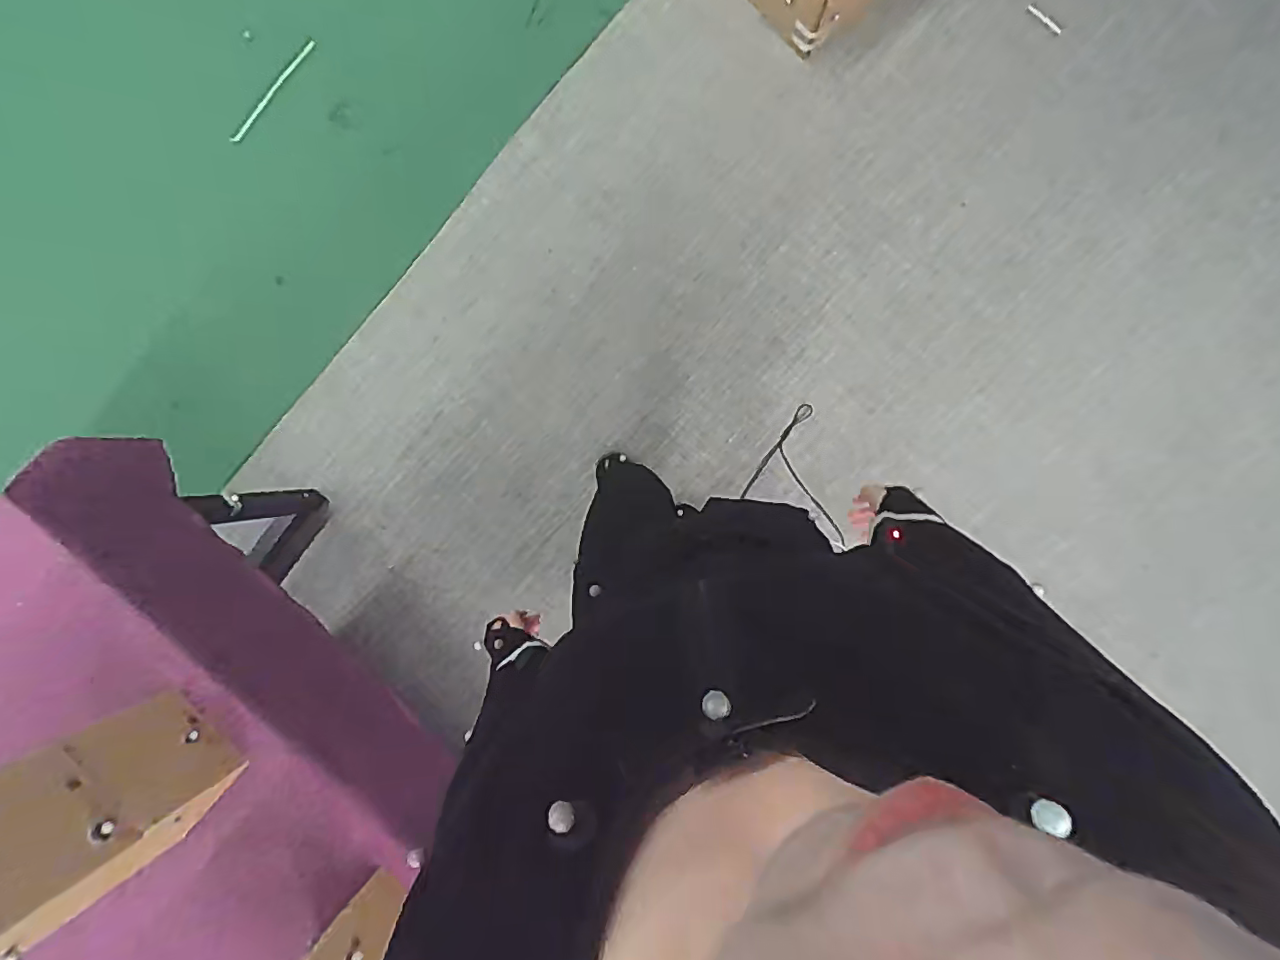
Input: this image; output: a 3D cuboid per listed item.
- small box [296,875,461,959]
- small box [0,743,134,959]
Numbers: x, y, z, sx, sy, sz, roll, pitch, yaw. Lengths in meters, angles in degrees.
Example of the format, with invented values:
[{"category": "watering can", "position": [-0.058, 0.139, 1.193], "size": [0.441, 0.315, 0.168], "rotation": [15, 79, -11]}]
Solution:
[{"category": "small box", "position": [-0.388, 0.697, 0.745], "size": [0.179, 0.176, 0.168], "rotation": [42, 96, 4]}, {"category": "small box", "position": [-0.740, 0.443, 0.610], "size": [0.168, 0.176, 0.179], "rotation": [44, 96, 3]}]
